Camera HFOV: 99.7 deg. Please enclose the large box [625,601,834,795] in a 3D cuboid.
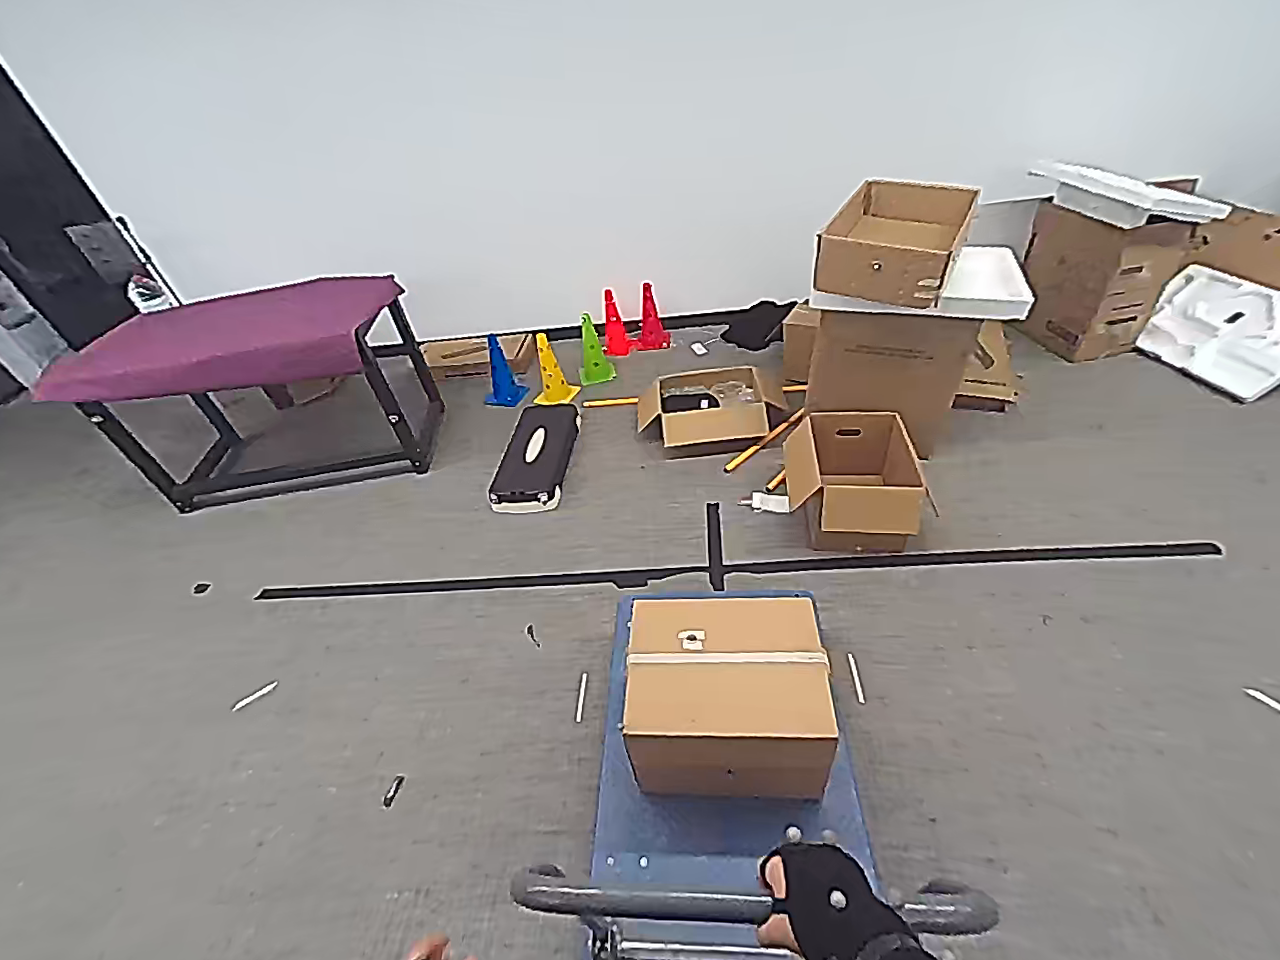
[{"bbox_3d":[0.195,0.502,1.236,0.408,0.320,0.320,-4,40,8],"label":"large box"}]
